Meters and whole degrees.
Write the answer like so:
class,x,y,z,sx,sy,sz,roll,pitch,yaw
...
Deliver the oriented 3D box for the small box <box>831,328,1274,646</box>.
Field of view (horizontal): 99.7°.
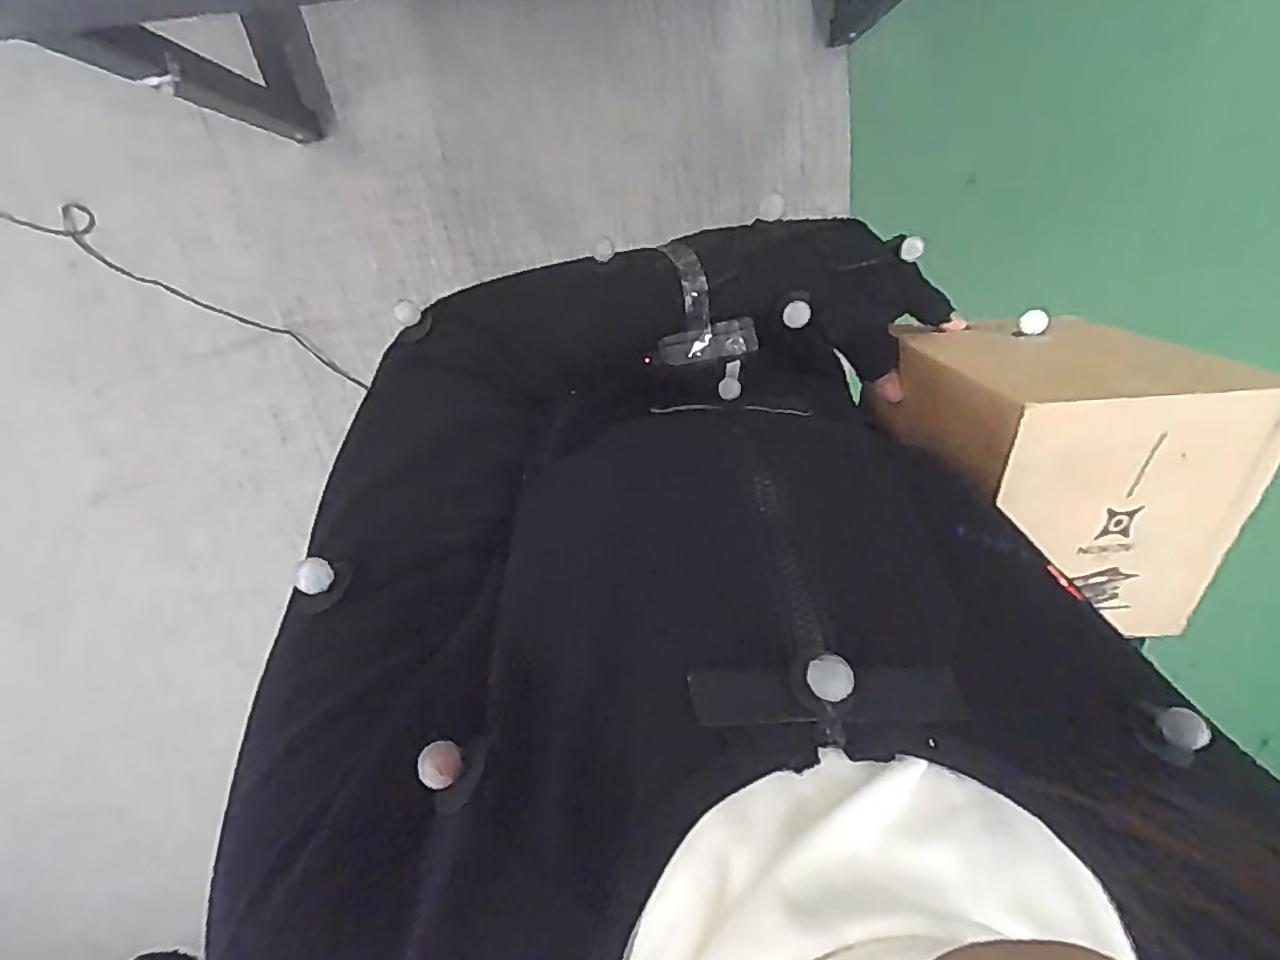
class,x,y,z,sx,sy,sz,roll,pitch,yaw
small box,0.259,-0.005,0.398,0.168,0.176,0.179,-3,118,-5
